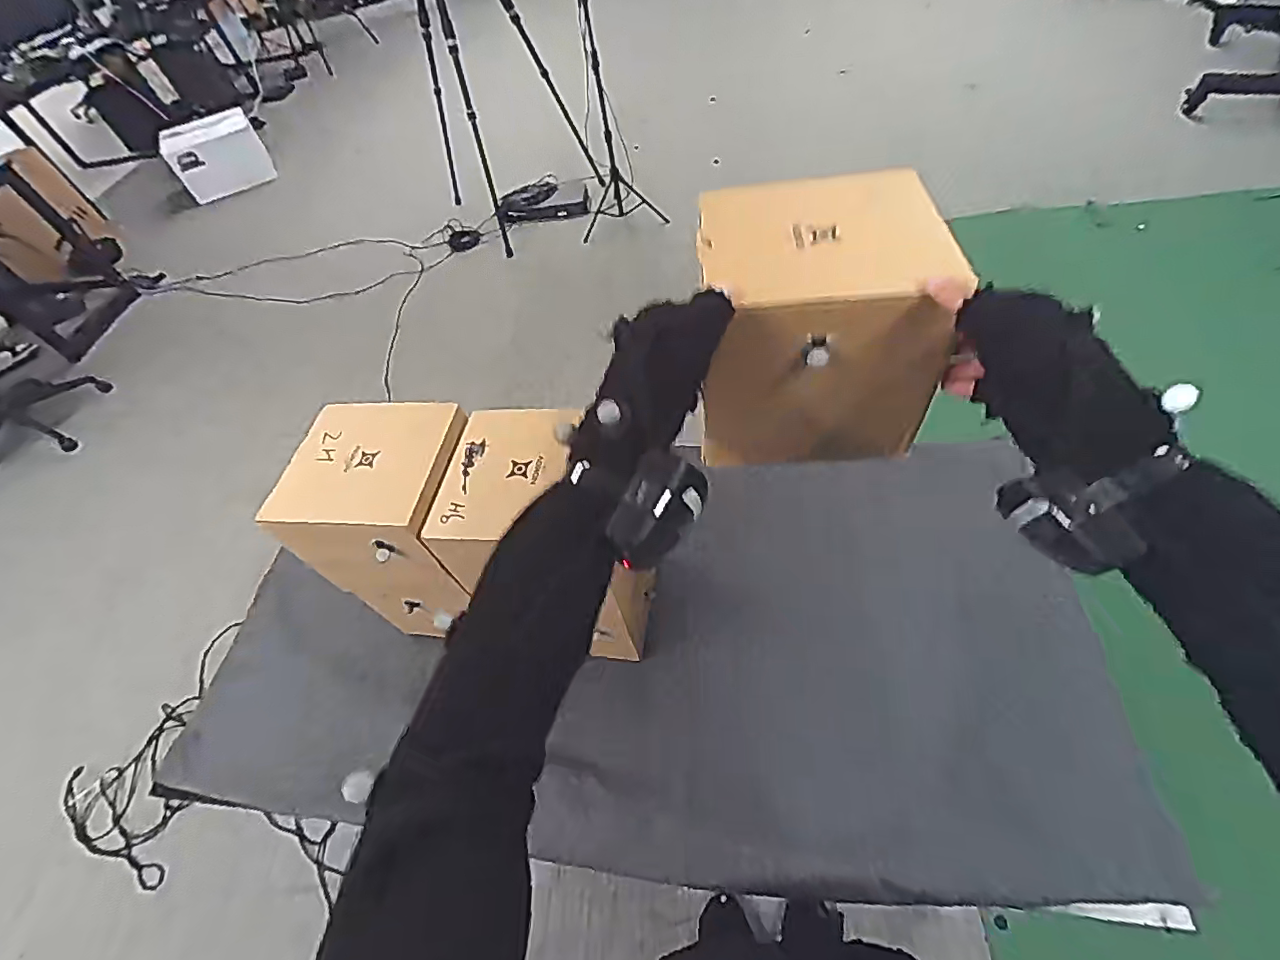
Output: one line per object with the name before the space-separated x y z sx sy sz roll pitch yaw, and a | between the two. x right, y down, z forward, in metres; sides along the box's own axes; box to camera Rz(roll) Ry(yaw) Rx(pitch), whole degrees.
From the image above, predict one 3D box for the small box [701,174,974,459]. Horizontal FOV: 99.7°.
small box | 0.143 -0.133 0.467 0.179 0.176 0.168 -3 52 7
